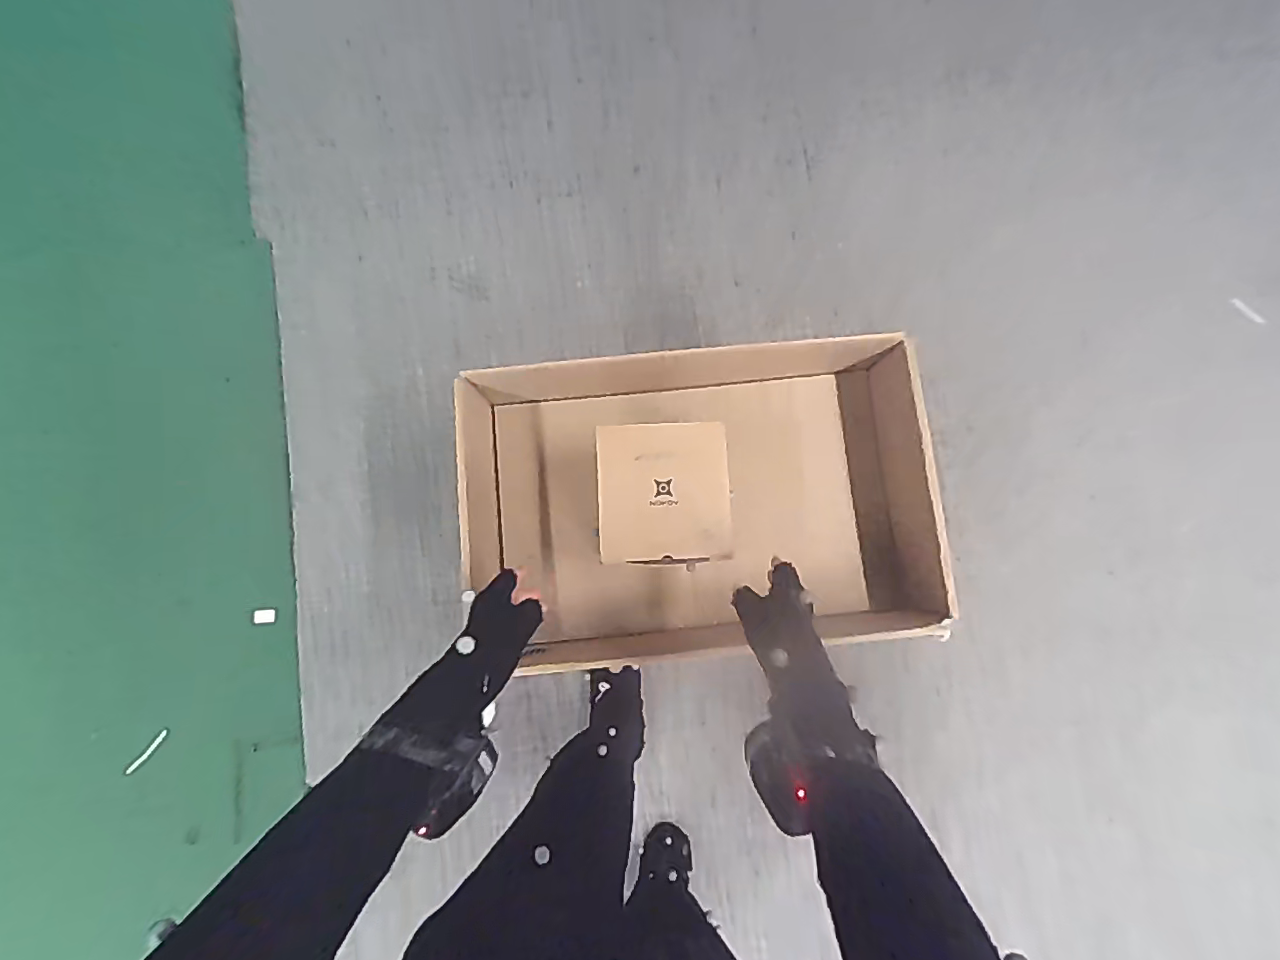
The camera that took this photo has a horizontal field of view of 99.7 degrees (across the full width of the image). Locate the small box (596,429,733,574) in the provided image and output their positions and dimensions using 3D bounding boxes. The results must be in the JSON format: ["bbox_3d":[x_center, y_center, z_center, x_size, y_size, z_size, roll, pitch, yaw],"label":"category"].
[{"bbox_3d":[0.029,0.036,0.750,0.168,0.176,0.179,-3,80,-2],"label":"small box"}]
